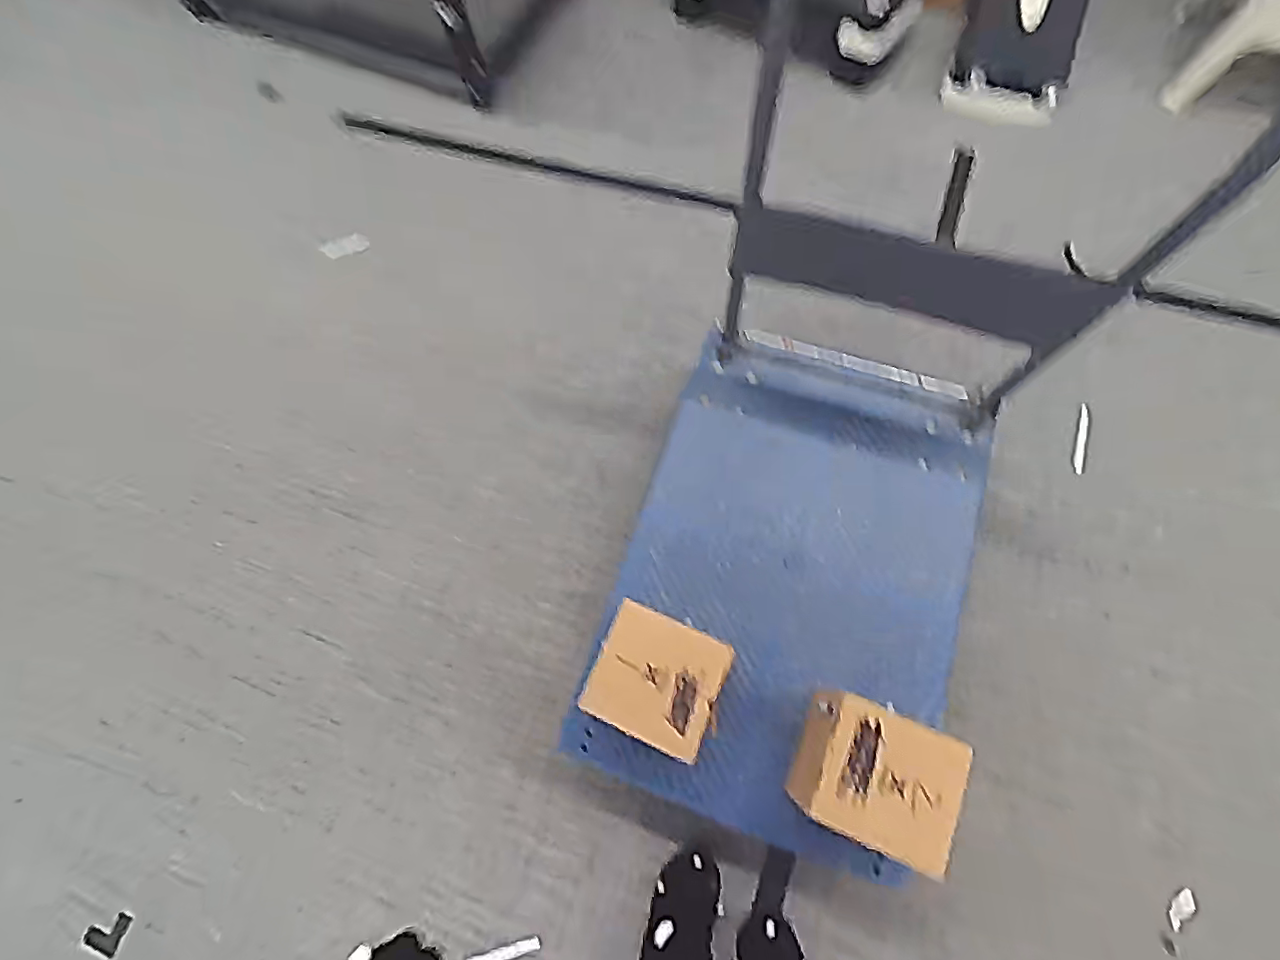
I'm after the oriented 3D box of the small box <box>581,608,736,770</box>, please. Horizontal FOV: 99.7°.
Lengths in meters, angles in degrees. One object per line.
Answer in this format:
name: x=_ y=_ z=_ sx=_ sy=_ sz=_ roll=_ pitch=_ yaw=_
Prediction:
small box: x=0.033 y=0.315 z=0.841 sx=0.179 sy=0.176 sz=0.168 roll=22 pitch=74 yaw=11
